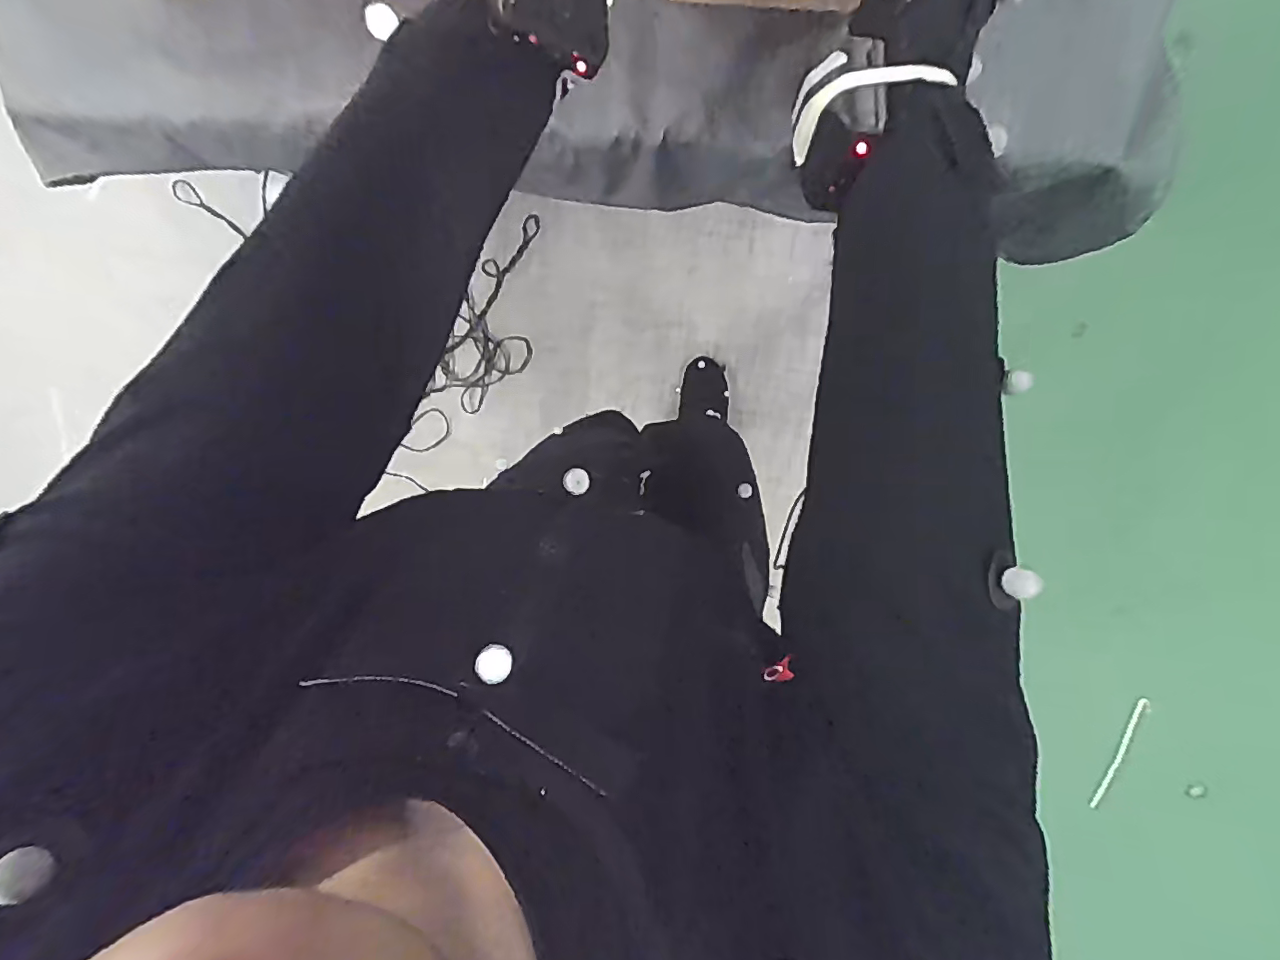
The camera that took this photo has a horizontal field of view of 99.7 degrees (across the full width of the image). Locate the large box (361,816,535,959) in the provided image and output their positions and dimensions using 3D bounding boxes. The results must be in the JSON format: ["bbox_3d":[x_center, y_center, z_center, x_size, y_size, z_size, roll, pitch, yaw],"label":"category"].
[{"bbox_3d":[-0.591,1.358,1.698,0.408,0.320,0.320,17,107,10],"label":"large box"}]
